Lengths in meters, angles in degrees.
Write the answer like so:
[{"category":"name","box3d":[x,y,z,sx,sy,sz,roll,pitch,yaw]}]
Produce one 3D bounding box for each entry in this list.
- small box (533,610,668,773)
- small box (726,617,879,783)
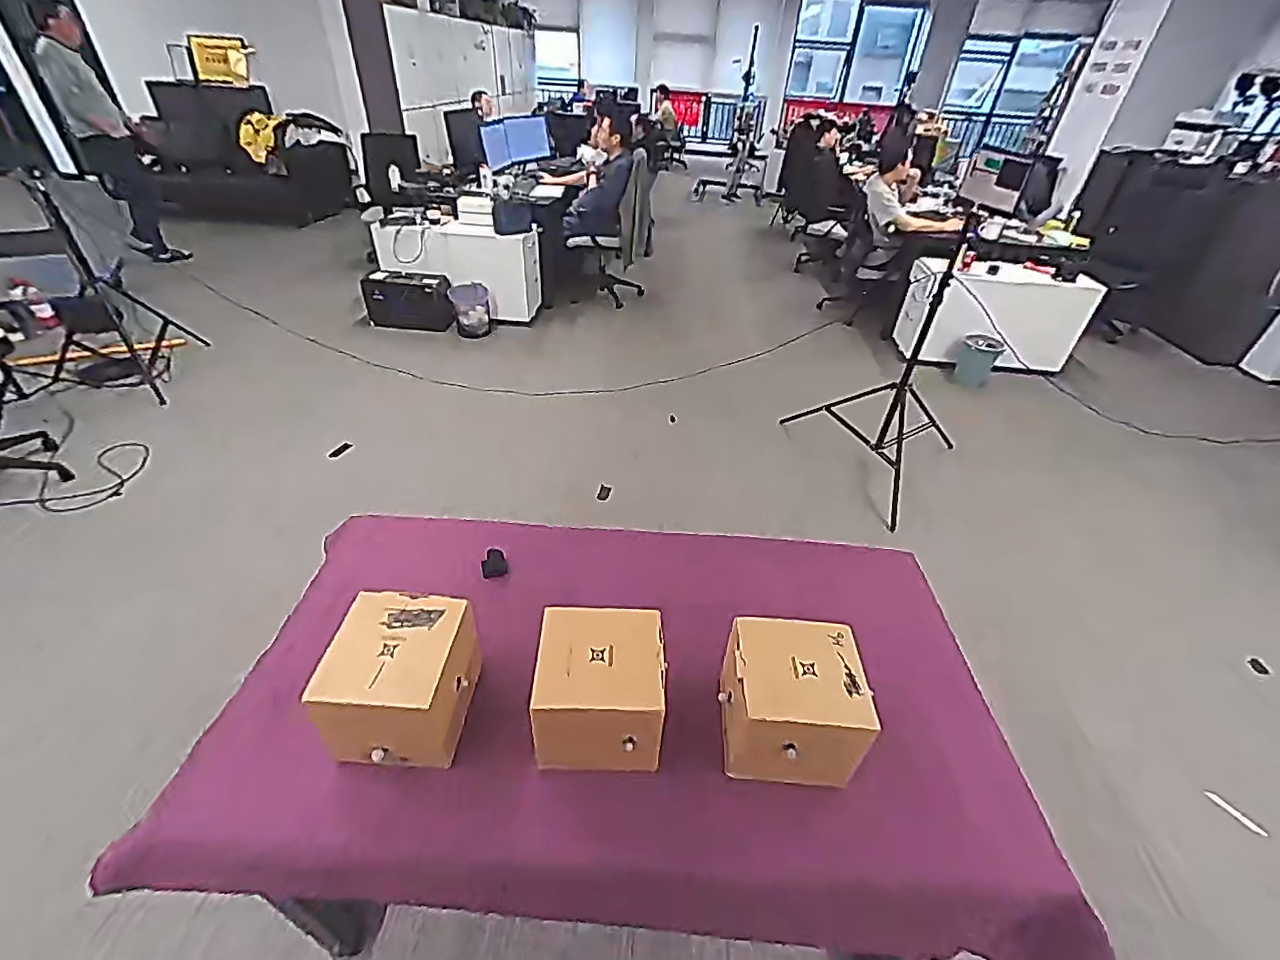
[{"category":"small box","box3d":[-0.056,0.312,0.802,0.179,0.176,0.168,0,36,-3]},{"category":"small box","box3d":[0.223,0.327,0.803,0.179,0.176,0.168,3,37,1]}]
